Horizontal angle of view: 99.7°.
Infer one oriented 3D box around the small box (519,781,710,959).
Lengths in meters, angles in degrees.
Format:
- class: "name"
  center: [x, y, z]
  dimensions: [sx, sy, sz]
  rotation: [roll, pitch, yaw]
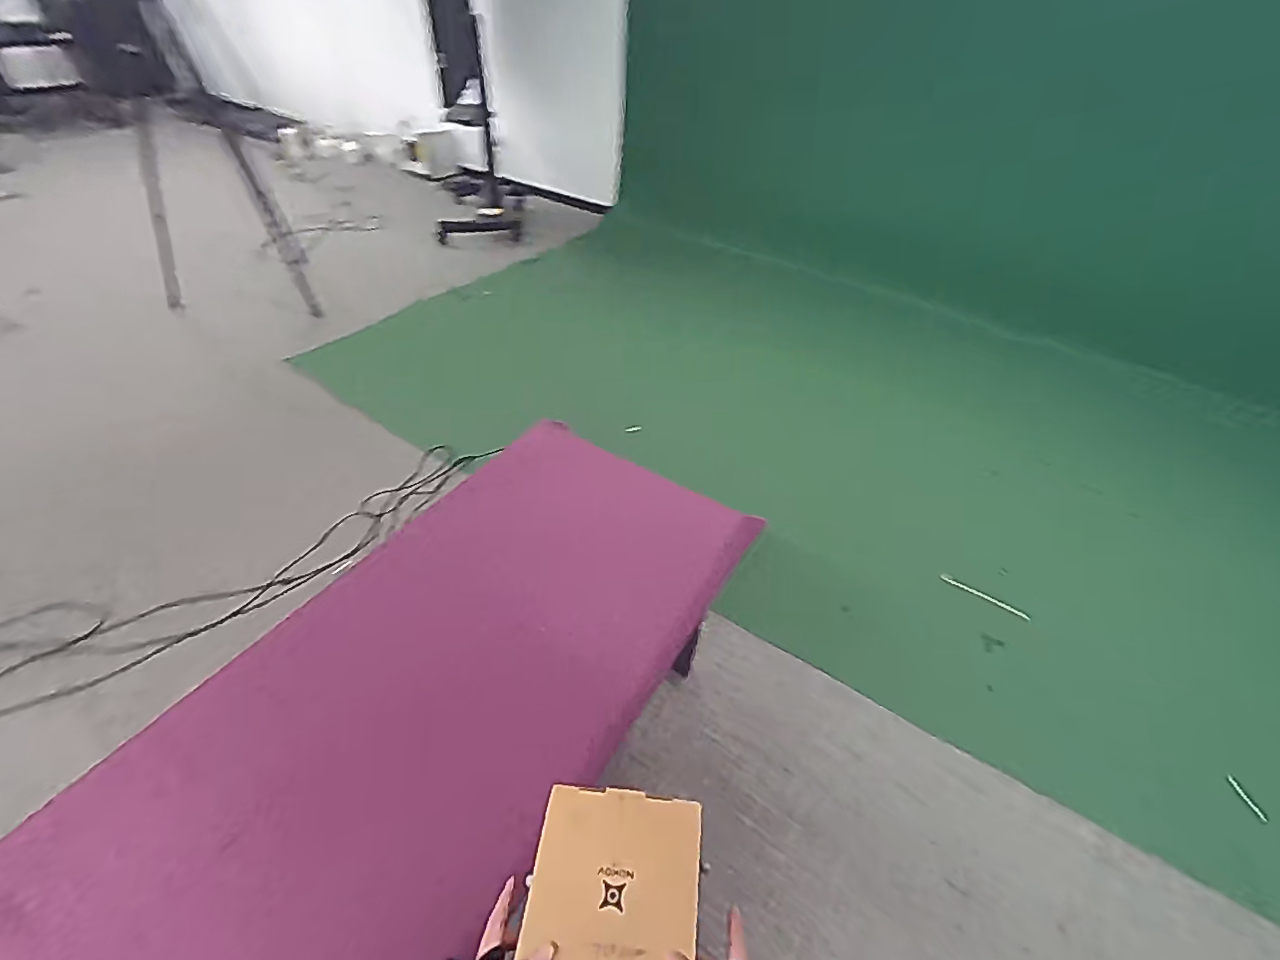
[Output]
- class: "small box"
  center: [-0.016, 0.452, 0.574]
  dimensions: [0.168, 0.176, 0.179]
  rotation: [3, 44, 8]
